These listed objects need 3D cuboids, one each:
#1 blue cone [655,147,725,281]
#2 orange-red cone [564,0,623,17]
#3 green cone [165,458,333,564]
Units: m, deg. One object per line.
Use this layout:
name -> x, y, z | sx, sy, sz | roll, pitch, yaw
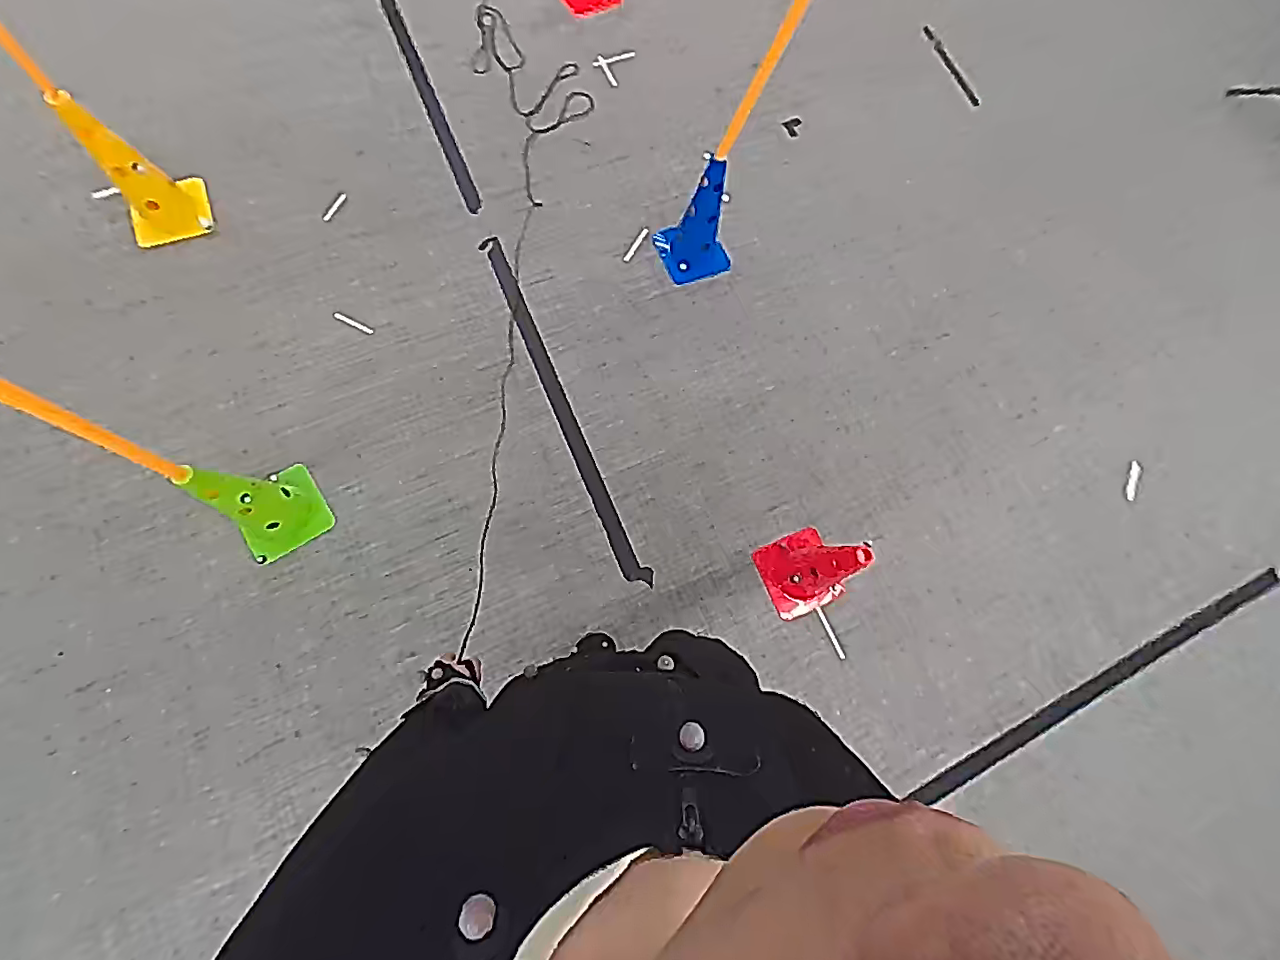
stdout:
blue cone -> 0.174, -0.760, 1.531 | 0.193, 0.380, 0.192 | -19, 76, -11
orange-red cone -> -0.170, -1.788, 1.772 | 0.199, 0.360, 0.198 | -28, 78, -11
green cone -> -0.883, 0.033, 1.188 | 0.200, 0.368, 0.202 | -33, 78, -14
